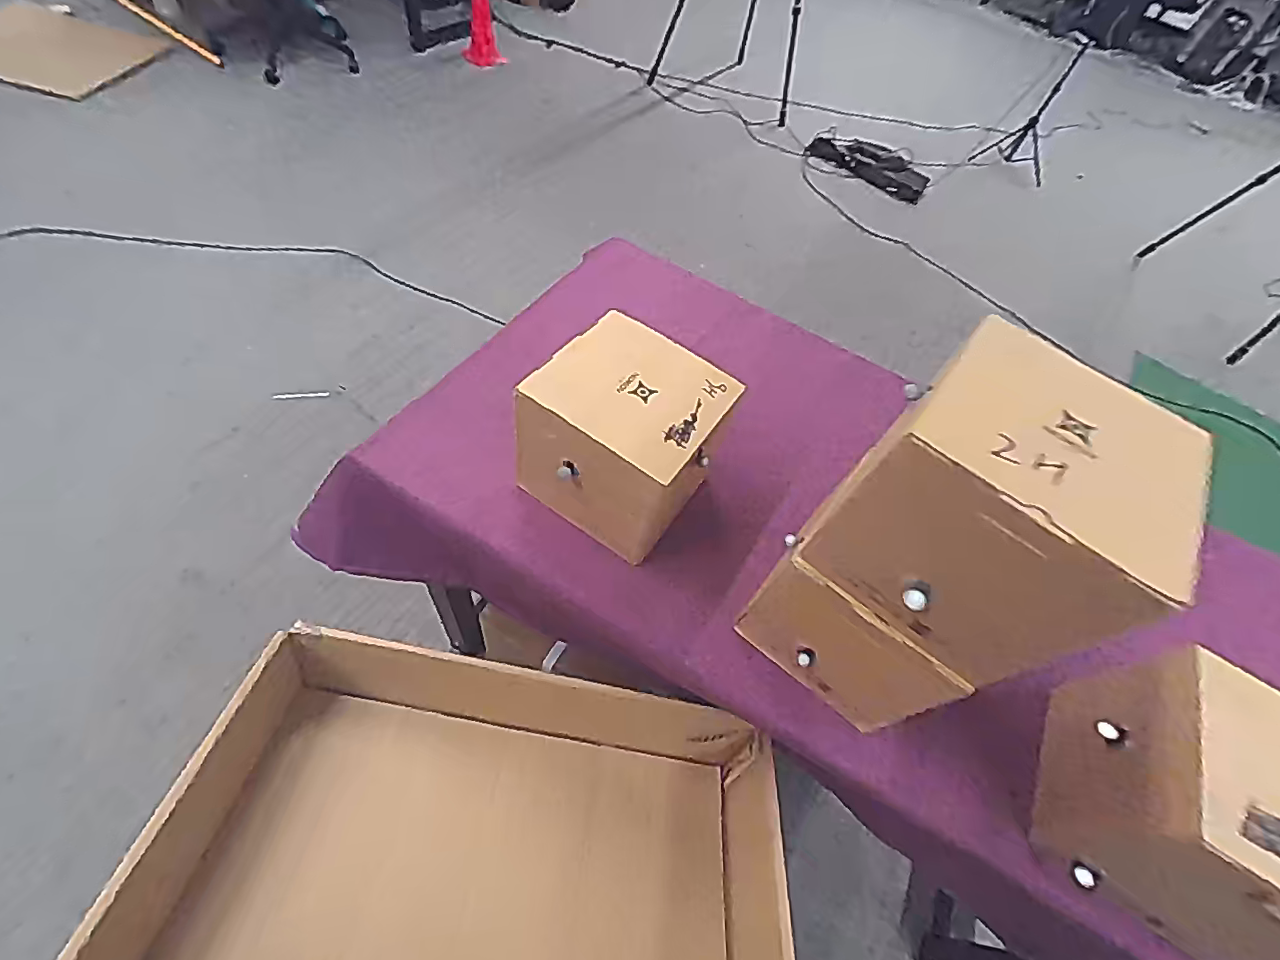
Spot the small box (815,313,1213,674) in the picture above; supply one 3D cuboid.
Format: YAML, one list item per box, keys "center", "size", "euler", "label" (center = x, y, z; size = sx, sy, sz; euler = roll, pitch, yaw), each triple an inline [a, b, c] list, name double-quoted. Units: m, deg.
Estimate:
- center: [0.264, 0.014, 0.413]
  size: [0.168, 0.176, 0.179]
  euler: [38, 59, 15]
  label: "small box"

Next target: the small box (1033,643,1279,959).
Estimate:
- center: [0.492, 0.284, 0.476]
  size: [0.168, 0.176, 0.179]
  euler: [33, 56, 12]
  label: "small box"

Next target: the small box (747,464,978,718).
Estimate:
- center: [0.233, 0.107, 0.546]
  size: [0.168, 0.176, 0.179]
  euler: [37, 59, 14]
  label: "small box"

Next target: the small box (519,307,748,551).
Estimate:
- center: [-0.014, -0.051, 0.599]
  size: [0.179, 0.176, 0.168]
  euler: [33, 58, 12]
  label: "small box"
